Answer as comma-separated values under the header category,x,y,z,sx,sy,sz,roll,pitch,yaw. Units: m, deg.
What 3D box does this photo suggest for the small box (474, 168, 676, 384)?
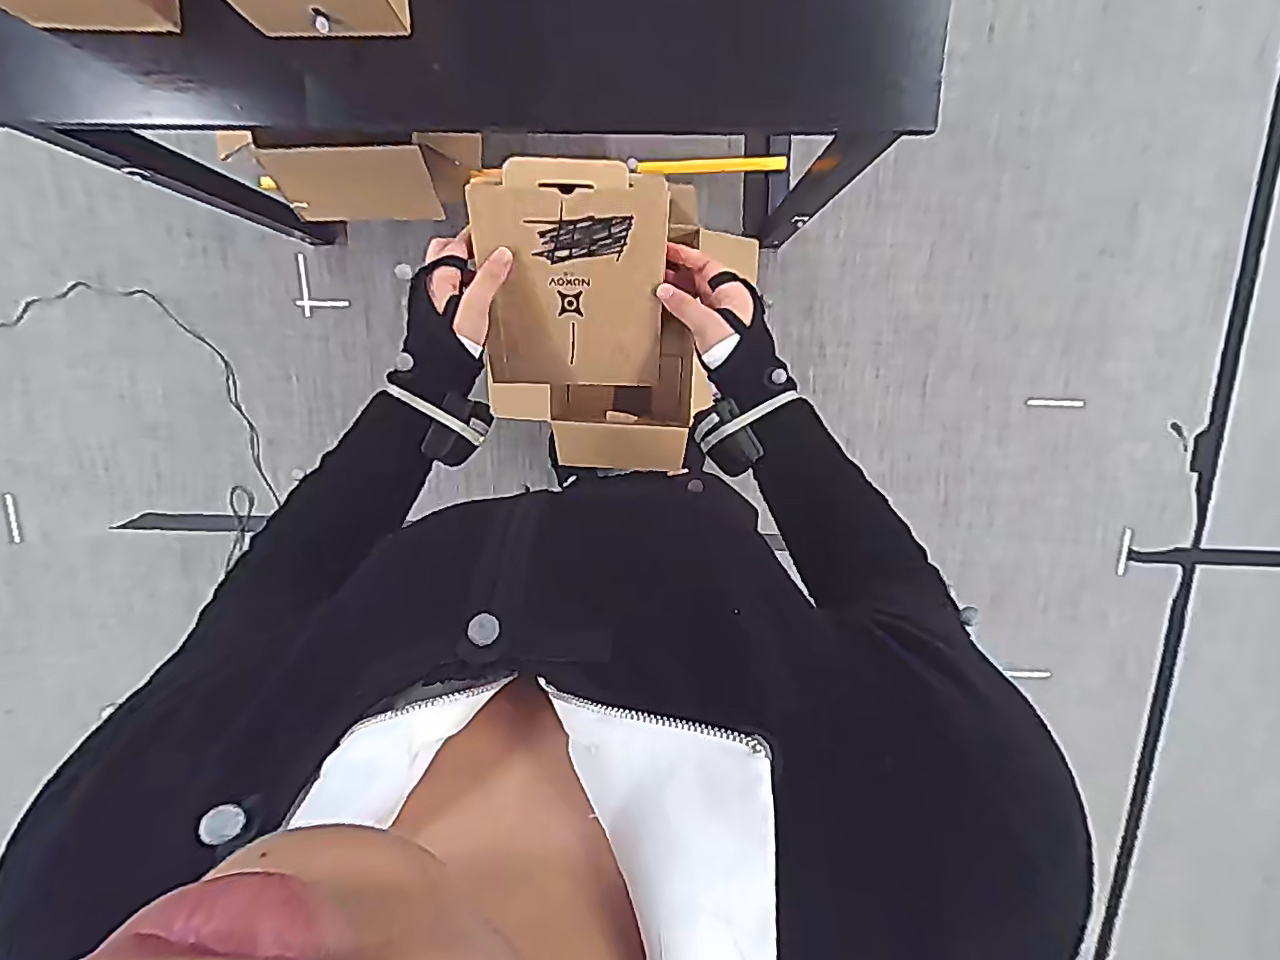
category,x,y,z,sx,sy,sz,roll,pitch,yaw
small box,-0.058,-0.210,0.543,0.168,0.176,0.179,1,121,-2

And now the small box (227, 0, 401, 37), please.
category,x,y,z,sx,sy,sz,roll,pitch,yaw
small box,-0.356,-0.585,0.541,0.179,0.176,0.168,-1,101,-1

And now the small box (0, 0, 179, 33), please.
category,x,y,z,sx,sy,sz,roll,pitch,yaw
small box,-0.619,-0.588,0.538,0.179,0.176,0.168,2,101,-2
